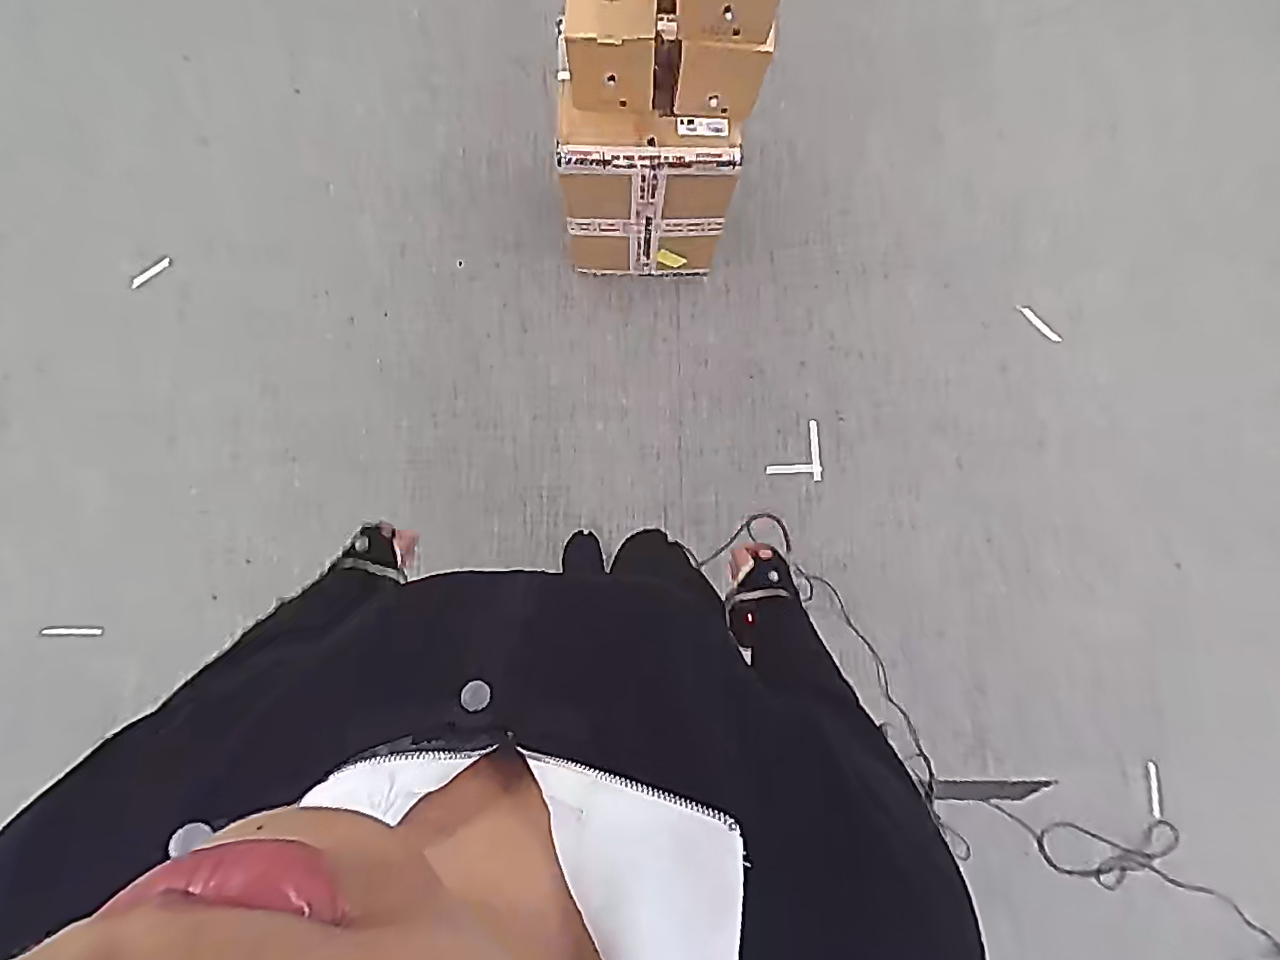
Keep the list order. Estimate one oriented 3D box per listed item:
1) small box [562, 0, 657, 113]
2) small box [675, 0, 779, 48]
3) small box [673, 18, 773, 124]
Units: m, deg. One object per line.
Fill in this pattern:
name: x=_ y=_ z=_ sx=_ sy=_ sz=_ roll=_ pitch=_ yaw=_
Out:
small box: x=-0.053 y=-0.857 z=1.055 sx=0.168 sy=0.176 sz=0.179 roll=3 pitch=85 yaw=0
small box: x=0.149 y=-0.876 z=0.899 sx=0.168 sy=0.176 sz=0.179 roll=0 pitch=85 yaw=-4
small box: x=0.156 y=-0.847 z=1.062 sx=0.168 sy=0.176 sz=0.179 roll=2 pitch=85 yaw=-3
